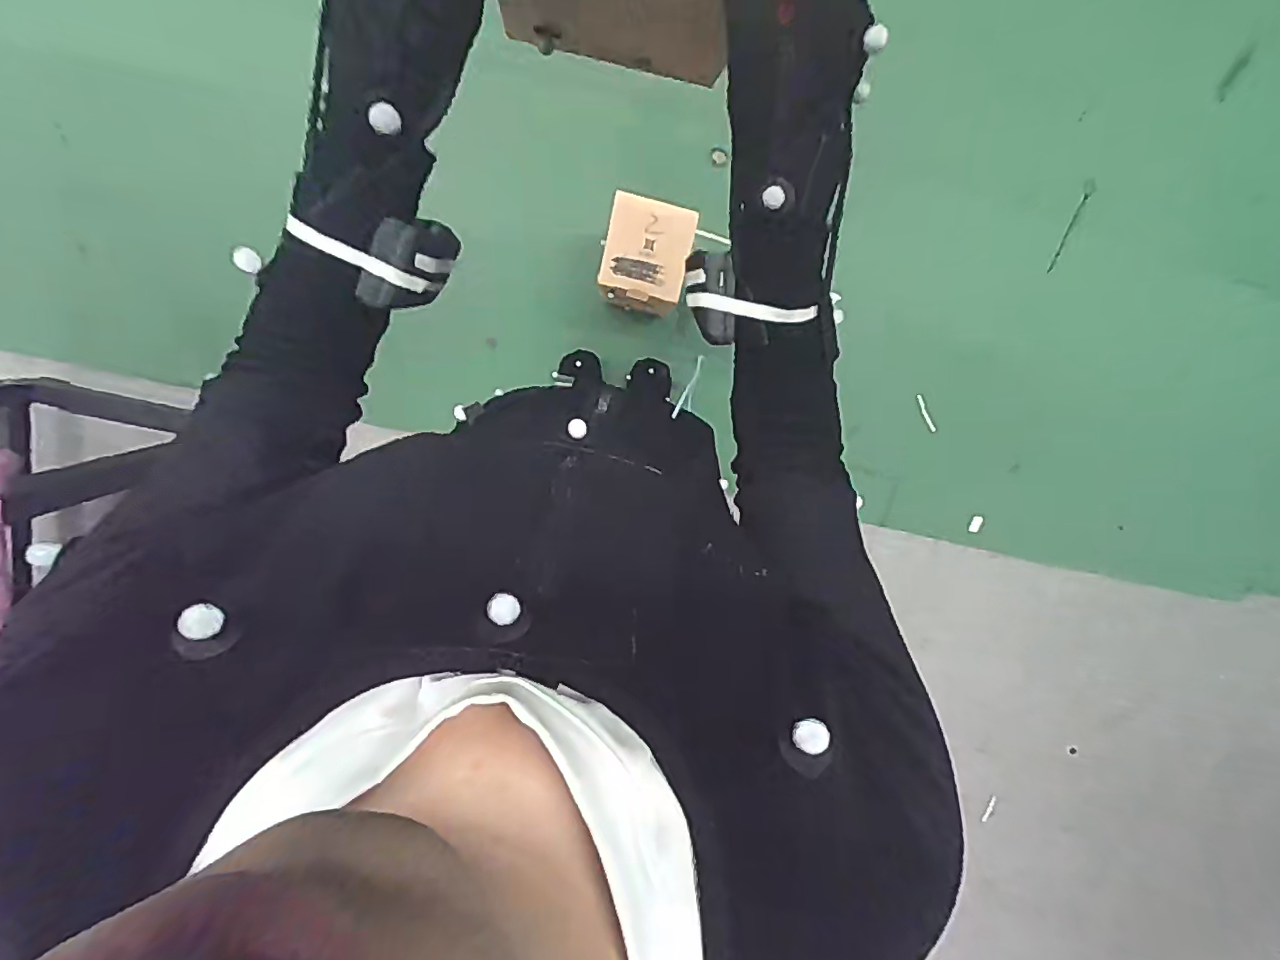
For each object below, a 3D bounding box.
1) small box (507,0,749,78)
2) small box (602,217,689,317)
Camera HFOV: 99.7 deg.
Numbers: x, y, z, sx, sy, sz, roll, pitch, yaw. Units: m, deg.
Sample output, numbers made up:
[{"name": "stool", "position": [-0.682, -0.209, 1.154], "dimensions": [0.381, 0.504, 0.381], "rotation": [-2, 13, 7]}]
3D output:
[{"name": "small box", "position": [0.001, -0.386, 0.324], "dimensions": [0.168, 0.176, 0.179], "rotation": [7, 105, -11]}, {"name": "small box", "position": [0.008, -0.499, 1.290], "dimensions": [0.168, 0.176, 0.179], "rotation": [13, 103, -5]}]
